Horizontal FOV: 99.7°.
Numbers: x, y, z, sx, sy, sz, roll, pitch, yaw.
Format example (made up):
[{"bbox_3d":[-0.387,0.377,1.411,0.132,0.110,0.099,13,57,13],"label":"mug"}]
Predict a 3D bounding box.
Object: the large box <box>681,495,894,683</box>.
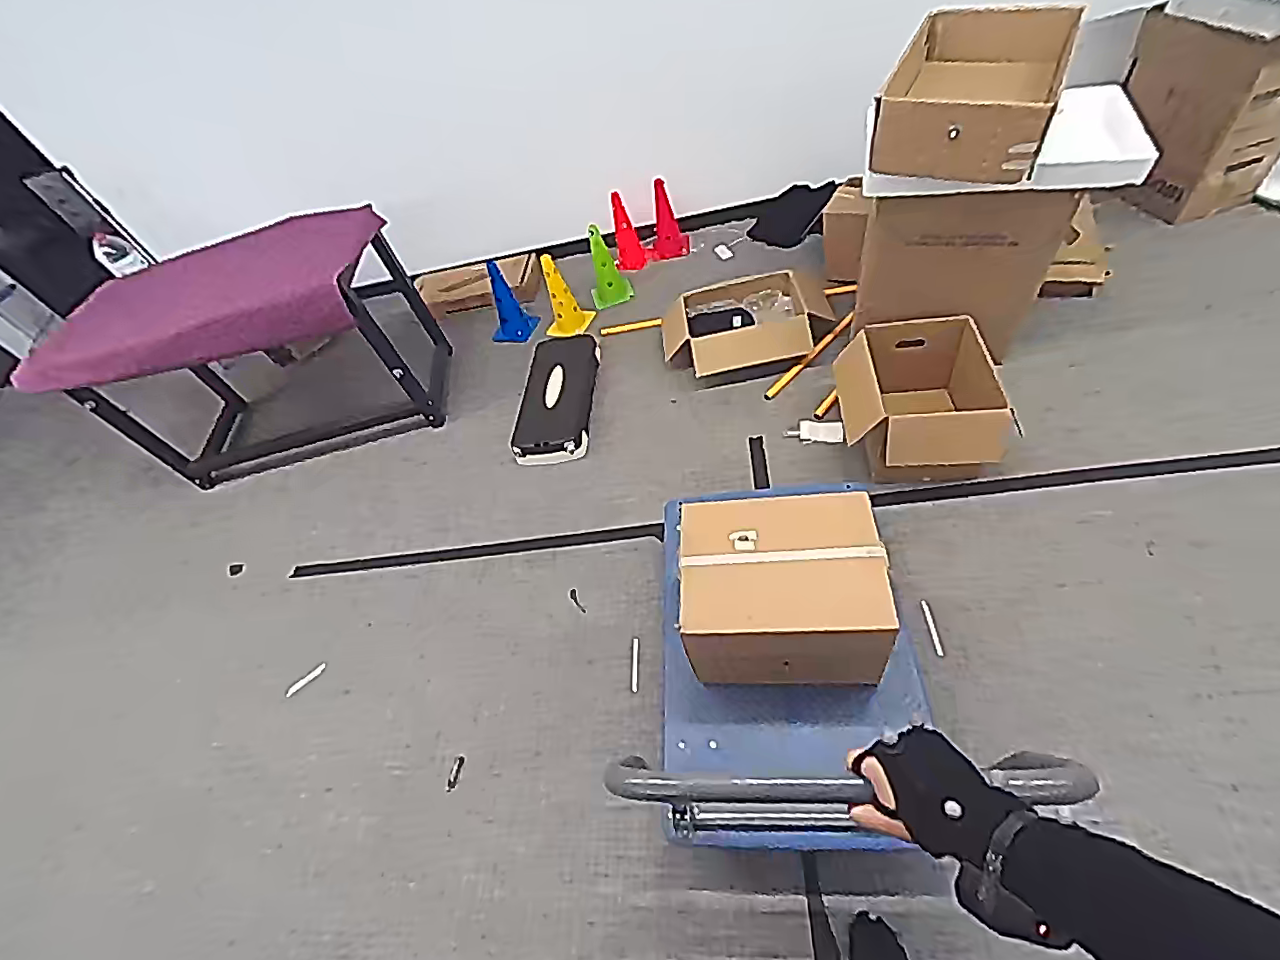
[{"bbox_3d":[0.318,0.262,1.236,0.408,0.320,0.320,-5,50,12],"label":"large box"}]
